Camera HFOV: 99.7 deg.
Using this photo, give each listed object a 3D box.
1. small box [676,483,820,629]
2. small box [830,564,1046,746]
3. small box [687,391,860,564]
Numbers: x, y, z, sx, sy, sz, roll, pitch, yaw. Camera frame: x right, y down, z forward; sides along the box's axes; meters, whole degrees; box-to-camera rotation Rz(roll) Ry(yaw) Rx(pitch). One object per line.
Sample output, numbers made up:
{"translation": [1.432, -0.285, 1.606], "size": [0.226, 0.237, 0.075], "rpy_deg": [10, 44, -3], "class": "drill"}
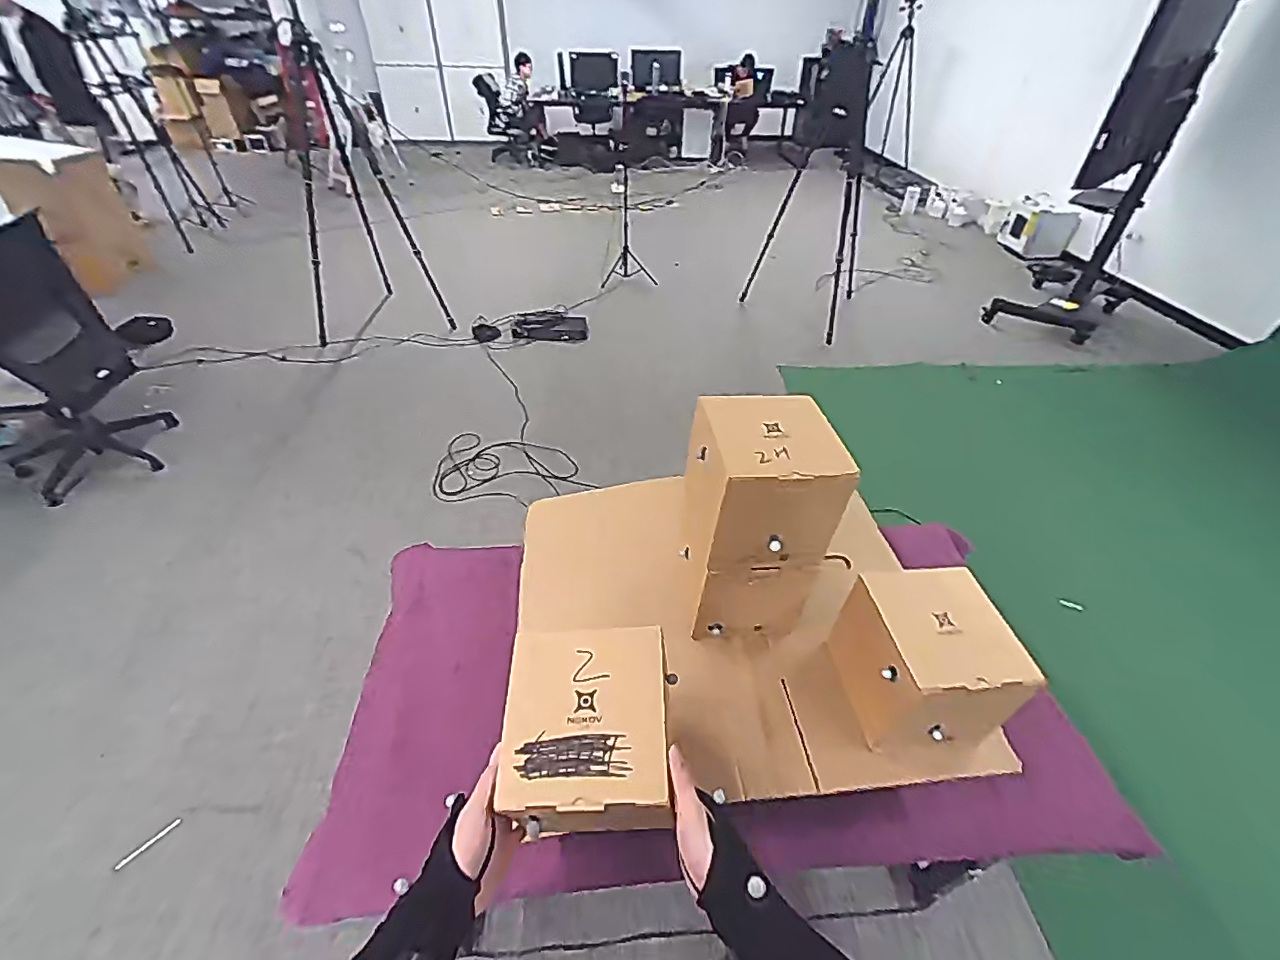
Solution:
{"translation": [0.156, 0.120, 0.849], "size": [0.168, 0.176, 0.179], "rpy_deg": [-1, 41, -8], "class": "small box"}
{"translation": [0.385, 0.238, 0.742], "size": [0.168, 0.176, 0.179], "rpy_deg": [-2, 43, -7], "class": "small box"}
{"translation": [0.165, -0.005, 0.742], "size": [0.168, 0.176, 0.179], "rpy_deg": [-2, 43, -8], "class": "small box"}
